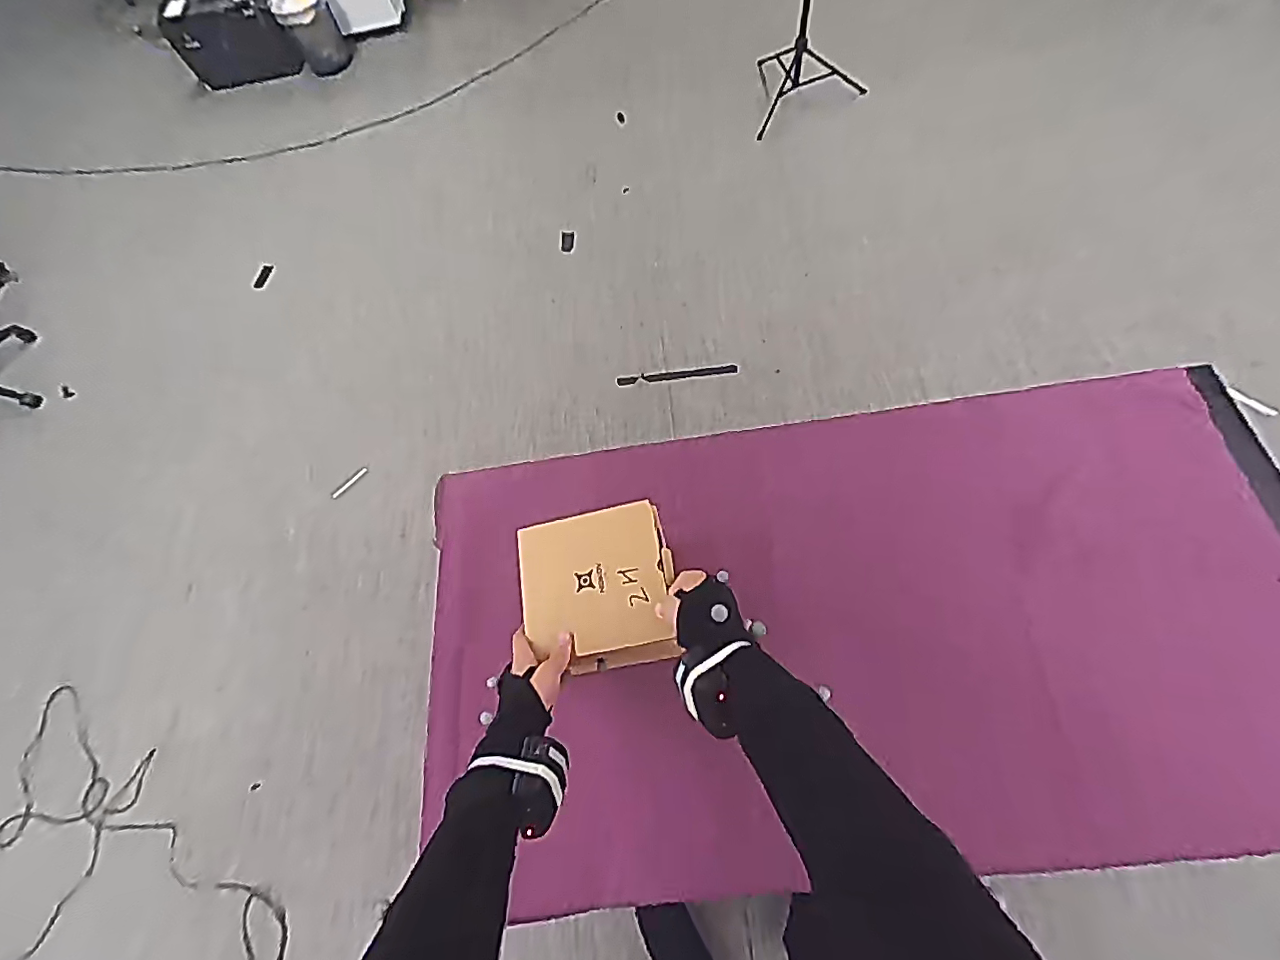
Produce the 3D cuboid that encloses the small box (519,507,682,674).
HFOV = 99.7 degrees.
[{"bbox_3d":[-0.046,0.152,0.705,0.179,0.176,0.168,-10,66,2],"label":"small box"}]
